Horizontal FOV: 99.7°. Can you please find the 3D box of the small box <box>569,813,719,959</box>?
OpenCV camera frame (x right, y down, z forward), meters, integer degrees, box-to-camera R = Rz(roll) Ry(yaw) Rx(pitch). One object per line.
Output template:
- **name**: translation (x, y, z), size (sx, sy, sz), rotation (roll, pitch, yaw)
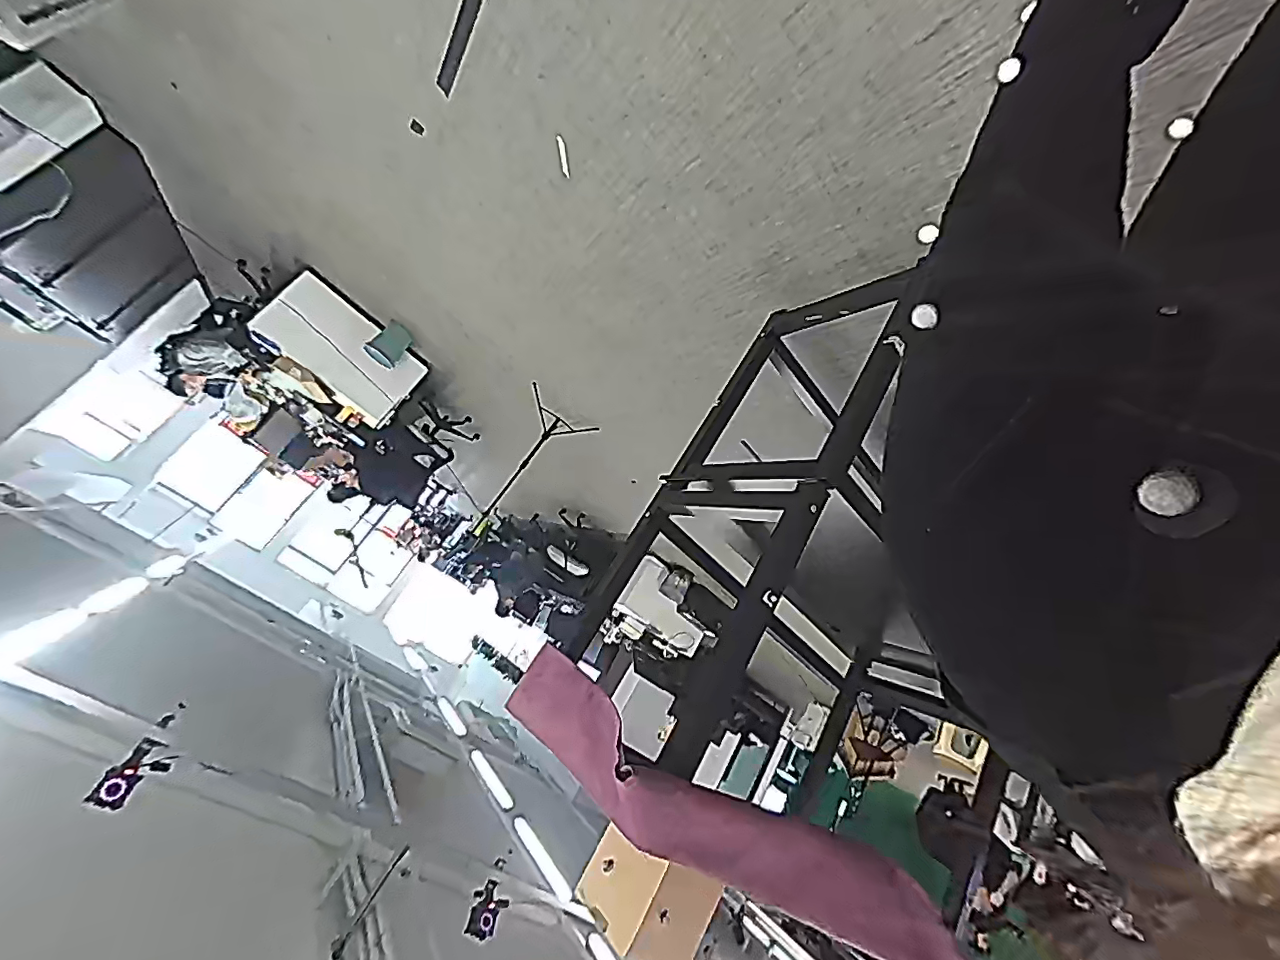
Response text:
- **small box**: translation (0.010, 0.750, 0.991), size (0.179, 0.176, 0.168), rotation (44, 159, -31)
